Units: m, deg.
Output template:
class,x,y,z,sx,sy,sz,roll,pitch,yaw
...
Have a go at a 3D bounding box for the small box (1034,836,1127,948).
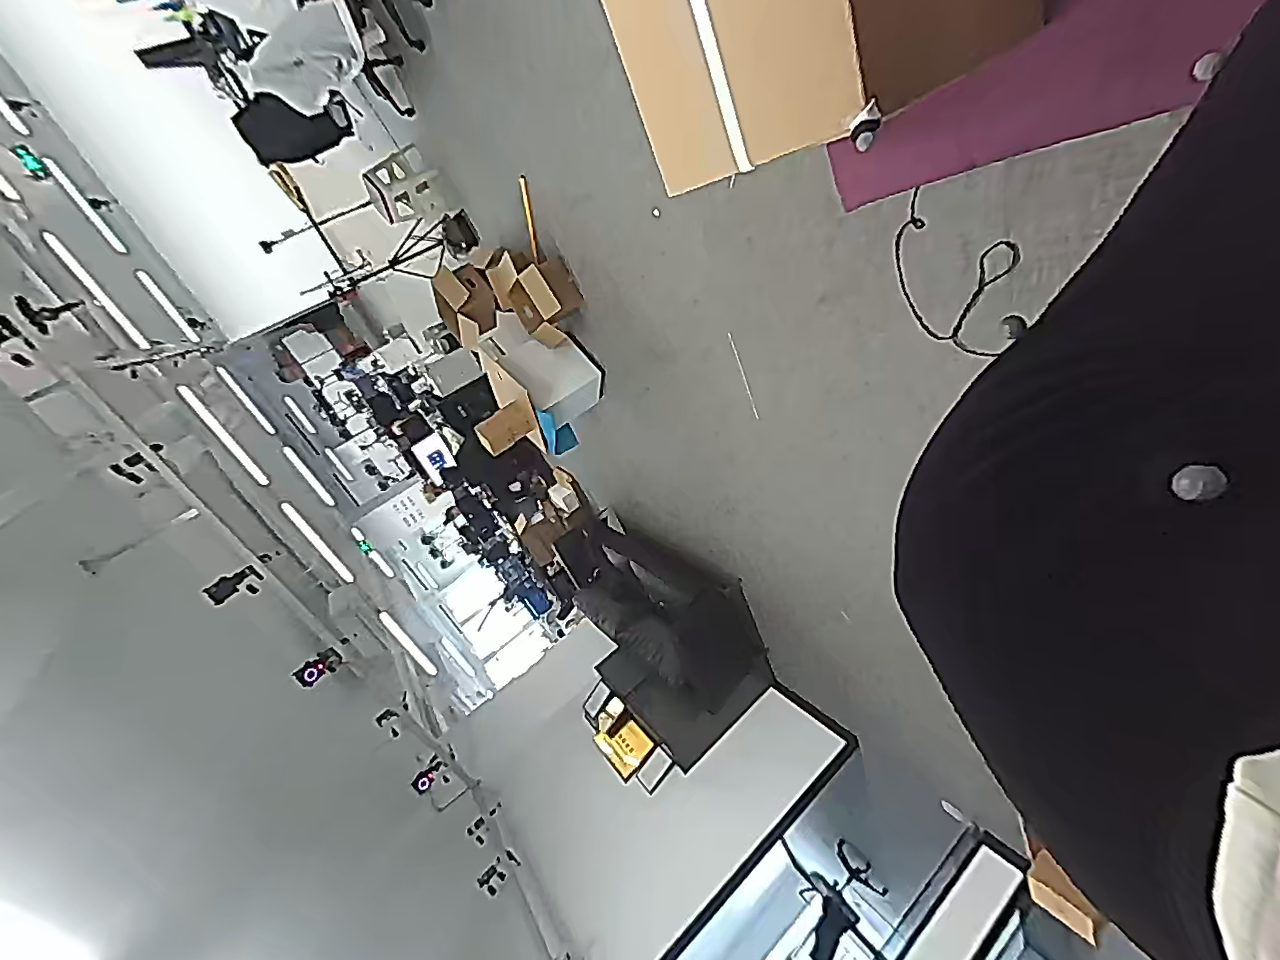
class,x,y,z,sx,sy,sz,roll,pitch,yaw
small box,1.320,1.224,1.616,0.168,0.176,0.179,18,141,56
